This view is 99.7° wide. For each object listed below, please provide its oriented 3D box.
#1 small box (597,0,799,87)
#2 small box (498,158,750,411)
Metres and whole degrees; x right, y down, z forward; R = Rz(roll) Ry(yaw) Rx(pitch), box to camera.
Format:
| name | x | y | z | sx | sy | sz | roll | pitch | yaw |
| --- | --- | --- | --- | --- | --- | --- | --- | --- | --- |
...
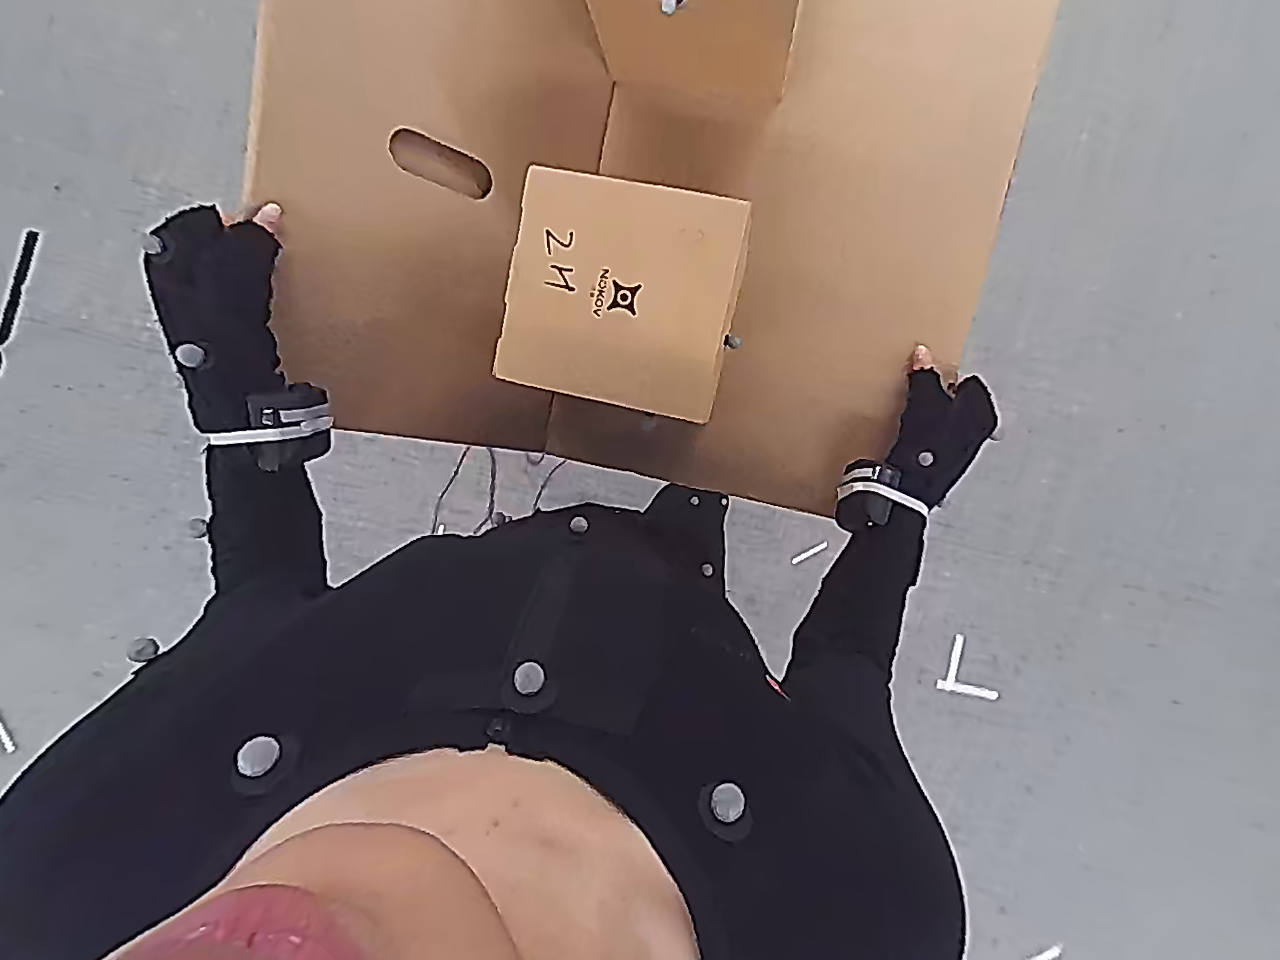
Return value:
| name | x | y | z | sx | sy | sz | roll | pitch | yaw |
| --- | --- | --- | --- | --- | --- | --- | --- | --- | --- |
| small box | 0.057 | -0.474 | 0.460 | 0.179 | 0.176 | 0.168 | 12 | 98 | 7 |
| small box | -0.005 | -0.164 | 0.504 | 0.179 | 0.176 | 0.168 | 14 | 98 | 8 |
